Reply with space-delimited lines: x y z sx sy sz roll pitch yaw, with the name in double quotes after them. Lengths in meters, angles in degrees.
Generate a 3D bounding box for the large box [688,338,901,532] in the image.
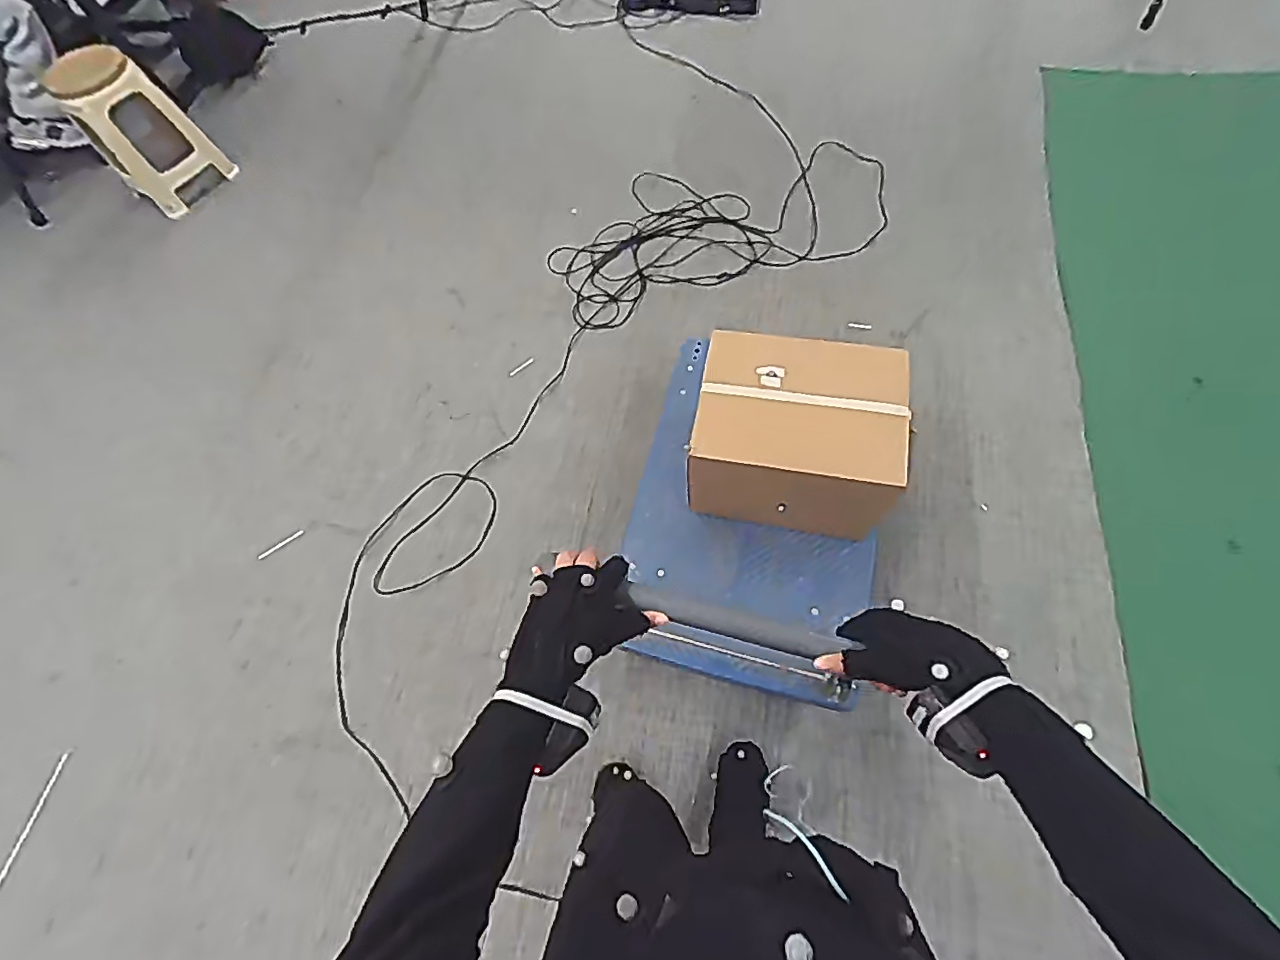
0.335 -0.092 1.225 0.408 0.320 0.320 7 67 11 "large box"
